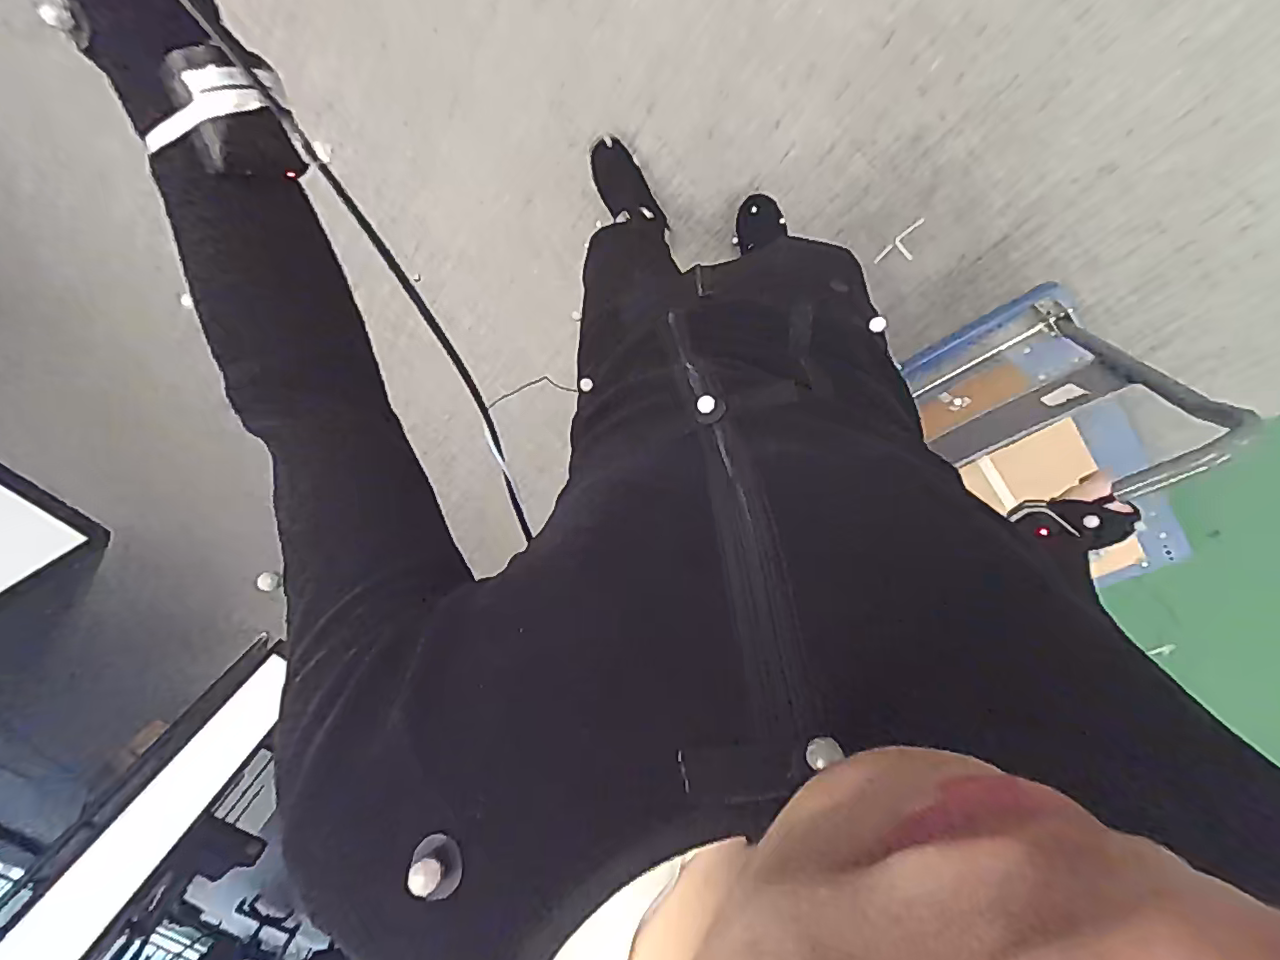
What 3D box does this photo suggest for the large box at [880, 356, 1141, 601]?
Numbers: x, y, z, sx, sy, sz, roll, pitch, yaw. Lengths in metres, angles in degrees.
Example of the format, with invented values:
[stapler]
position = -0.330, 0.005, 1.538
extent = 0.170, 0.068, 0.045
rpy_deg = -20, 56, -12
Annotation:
[large box]
position = 0.823, -0.005, 1.252
extent = 0.320, 0.320, 0.408
rpy_deg = -32, 111, 29
